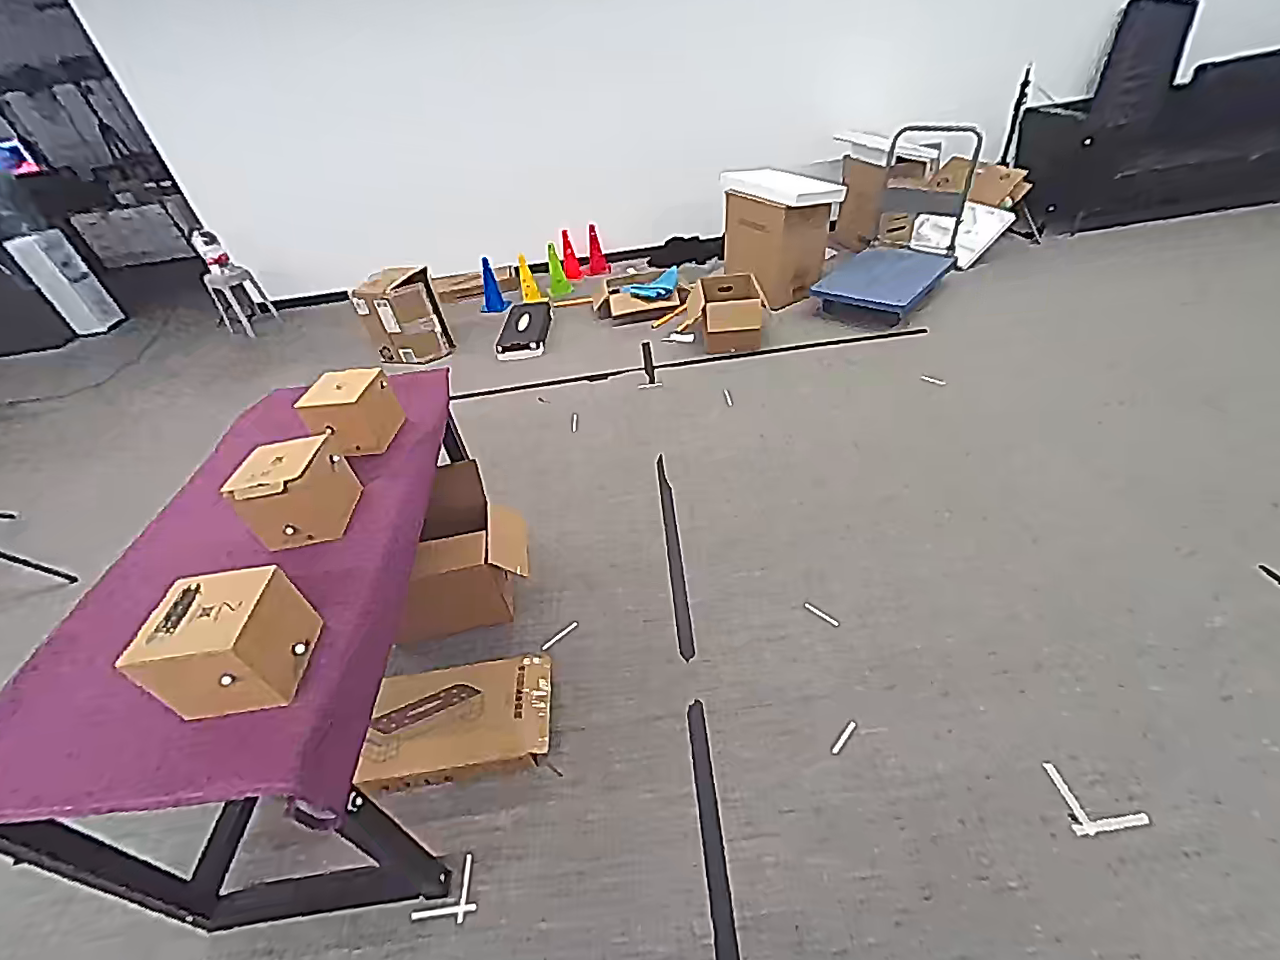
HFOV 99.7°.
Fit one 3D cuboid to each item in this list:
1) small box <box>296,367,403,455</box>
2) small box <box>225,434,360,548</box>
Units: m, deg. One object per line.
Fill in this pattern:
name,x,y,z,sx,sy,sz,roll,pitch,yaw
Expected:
small box,-0.763,-0.178,1.445,0.168,0.176,0.179,-4,40,5
small box,-0.753,0.025,1.200,0.168,0.176,0.179,-11,40,1
